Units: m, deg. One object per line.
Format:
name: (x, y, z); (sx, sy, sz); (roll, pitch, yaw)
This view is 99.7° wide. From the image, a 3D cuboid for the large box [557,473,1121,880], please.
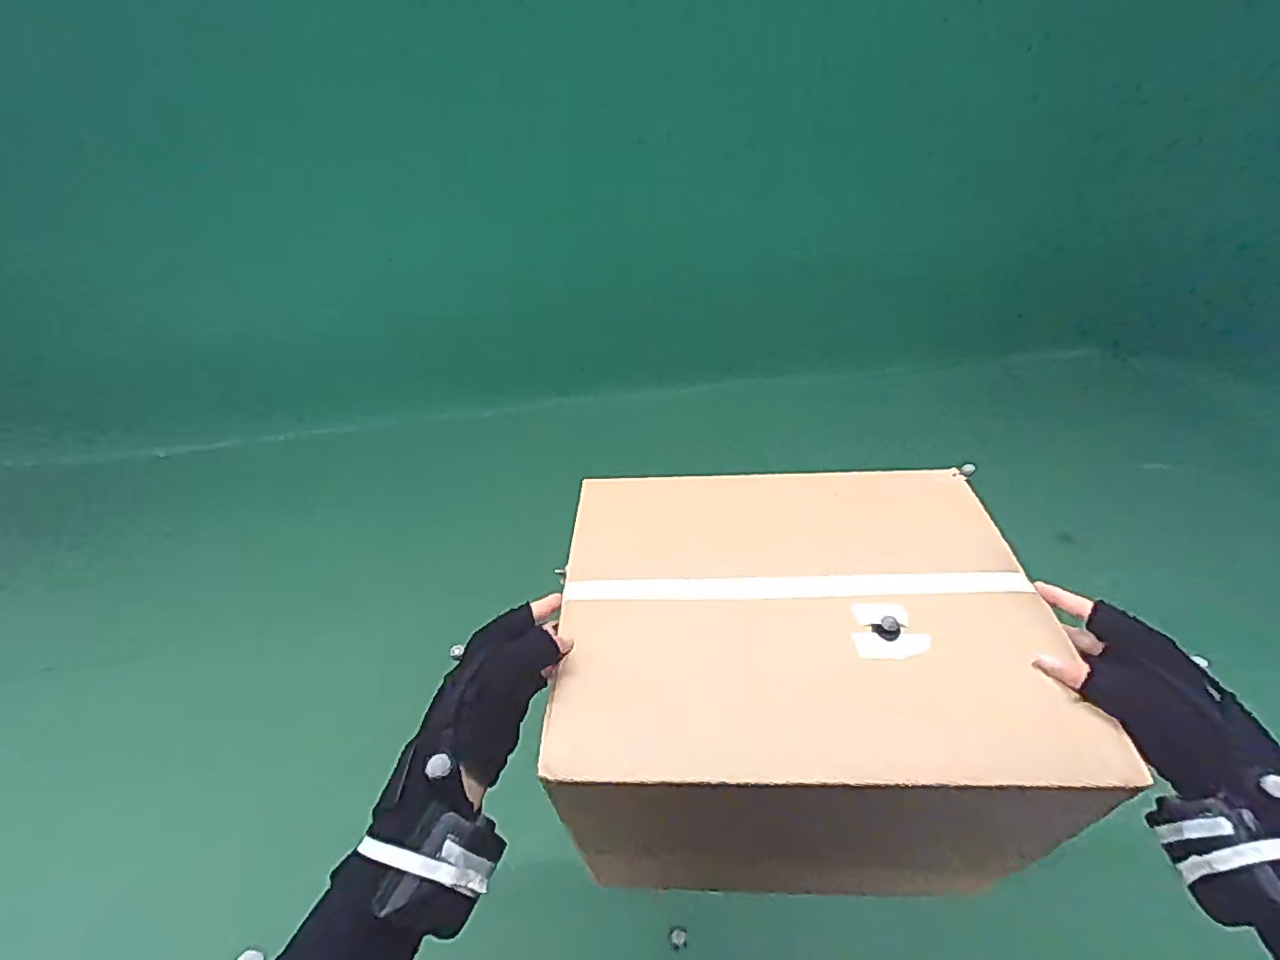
large box: (0.145, 0.210, 0.588); (0.408, 0.320, 0.320); (-1, 42, 3)
